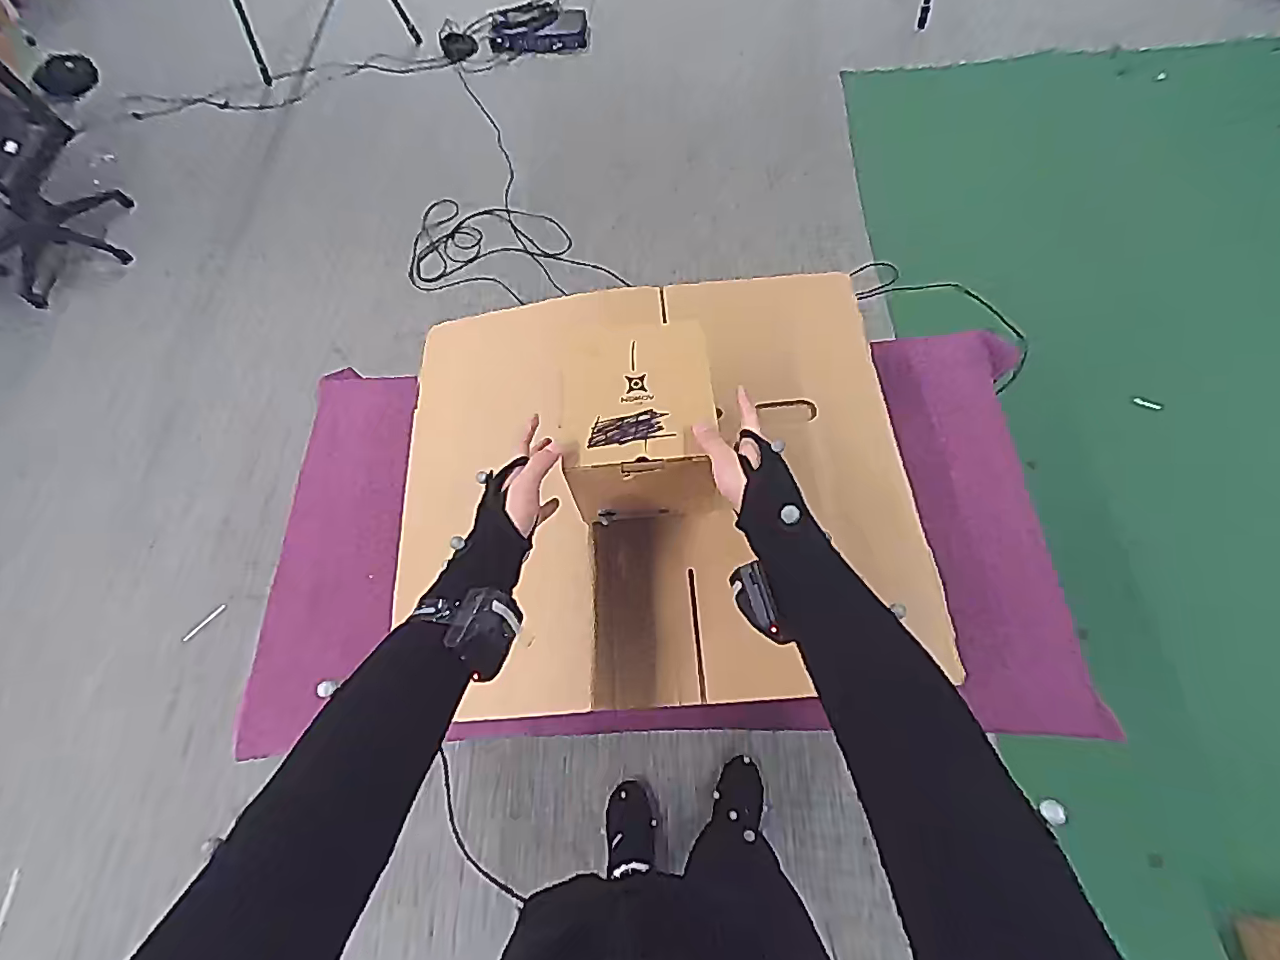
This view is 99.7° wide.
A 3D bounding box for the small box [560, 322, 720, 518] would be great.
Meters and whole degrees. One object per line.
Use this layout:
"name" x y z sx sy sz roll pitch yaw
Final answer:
"small box" 0.000 -0.060 0.648 0.168 0.176 0.179 -5 65 1
